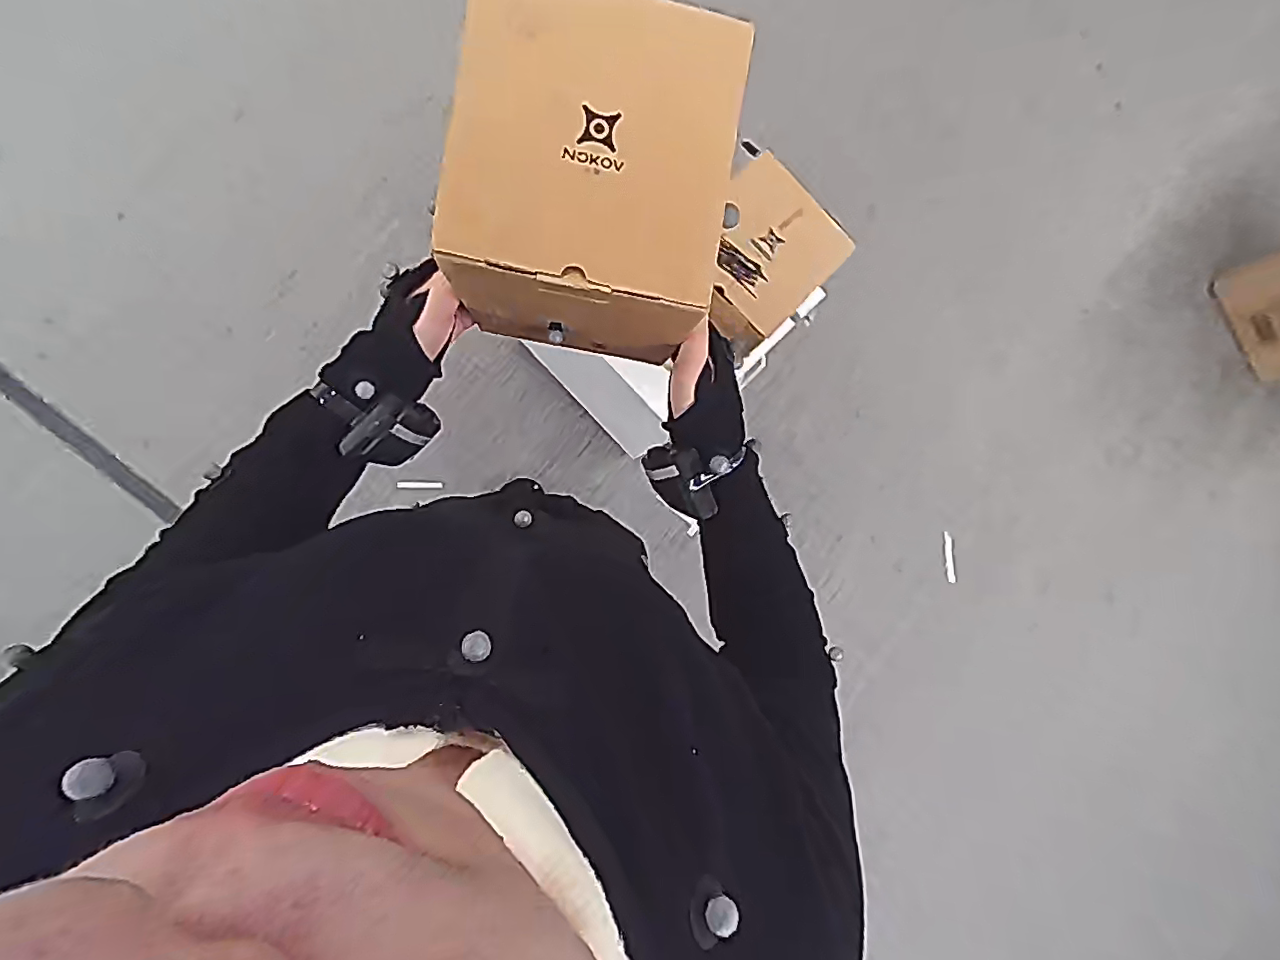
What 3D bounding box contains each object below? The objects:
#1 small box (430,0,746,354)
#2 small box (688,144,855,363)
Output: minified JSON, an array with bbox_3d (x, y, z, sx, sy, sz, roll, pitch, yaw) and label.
[{"bbox_3d":[-0.038,-0.205,0.393,0.168,0.176,0.179,8,92,-8],"label":"small box"},{"bbox_3d":[0.138,-0.284,0.722,0.168,0.176,0.179,45,82,-5],"label":"small box"}]
